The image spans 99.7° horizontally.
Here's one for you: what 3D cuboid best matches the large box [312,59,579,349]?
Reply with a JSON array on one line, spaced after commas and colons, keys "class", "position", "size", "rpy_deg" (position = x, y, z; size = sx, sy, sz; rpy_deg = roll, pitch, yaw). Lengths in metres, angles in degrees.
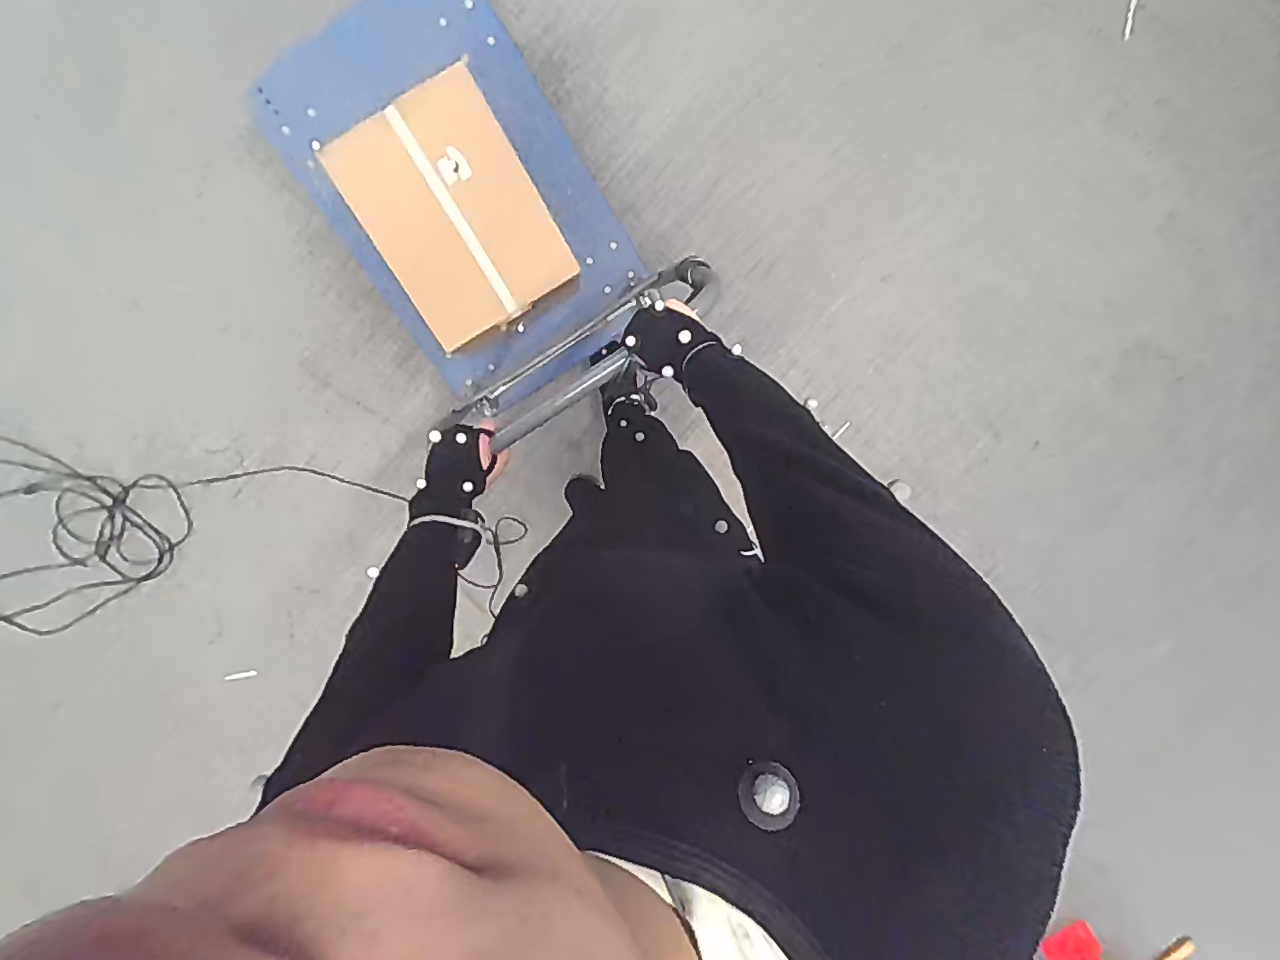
[{"class": "large box", "position": [-0.361, -0.528, 1.134], "size": [0.320, 0.320, 0.408], "rpy_deg": [-31, 105, 1]}]
